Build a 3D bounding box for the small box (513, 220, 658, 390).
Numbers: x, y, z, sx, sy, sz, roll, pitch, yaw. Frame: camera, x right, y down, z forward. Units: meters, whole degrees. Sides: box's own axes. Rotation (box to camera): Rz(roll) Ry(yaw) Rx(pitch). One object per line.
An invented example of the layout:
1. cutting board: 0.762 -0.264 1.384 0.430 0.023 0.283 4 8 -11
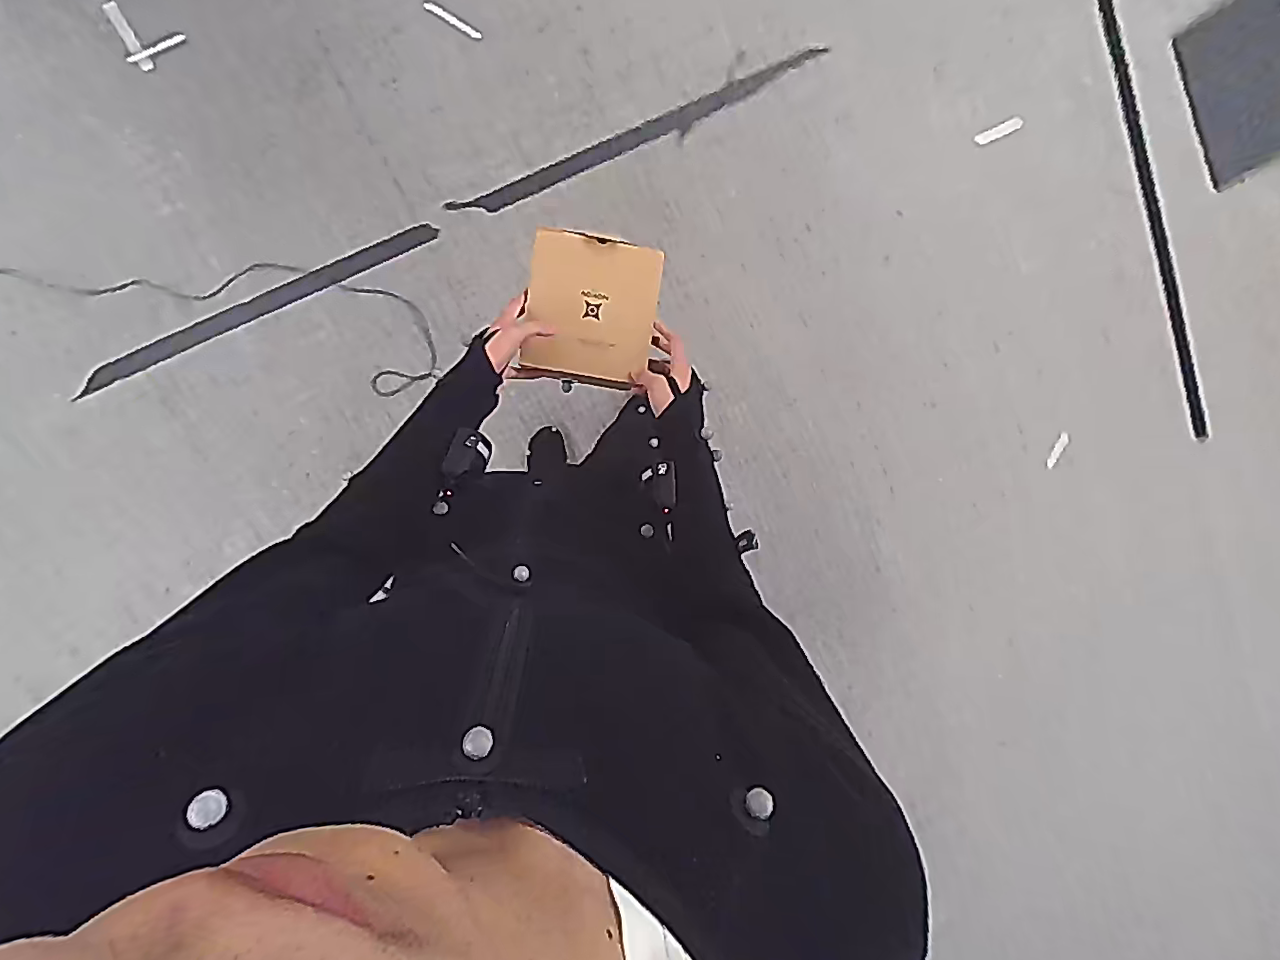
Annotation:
1. small box: -0.080 -0.229 0.753 0.168 0.176 0.179 6 95 -9
